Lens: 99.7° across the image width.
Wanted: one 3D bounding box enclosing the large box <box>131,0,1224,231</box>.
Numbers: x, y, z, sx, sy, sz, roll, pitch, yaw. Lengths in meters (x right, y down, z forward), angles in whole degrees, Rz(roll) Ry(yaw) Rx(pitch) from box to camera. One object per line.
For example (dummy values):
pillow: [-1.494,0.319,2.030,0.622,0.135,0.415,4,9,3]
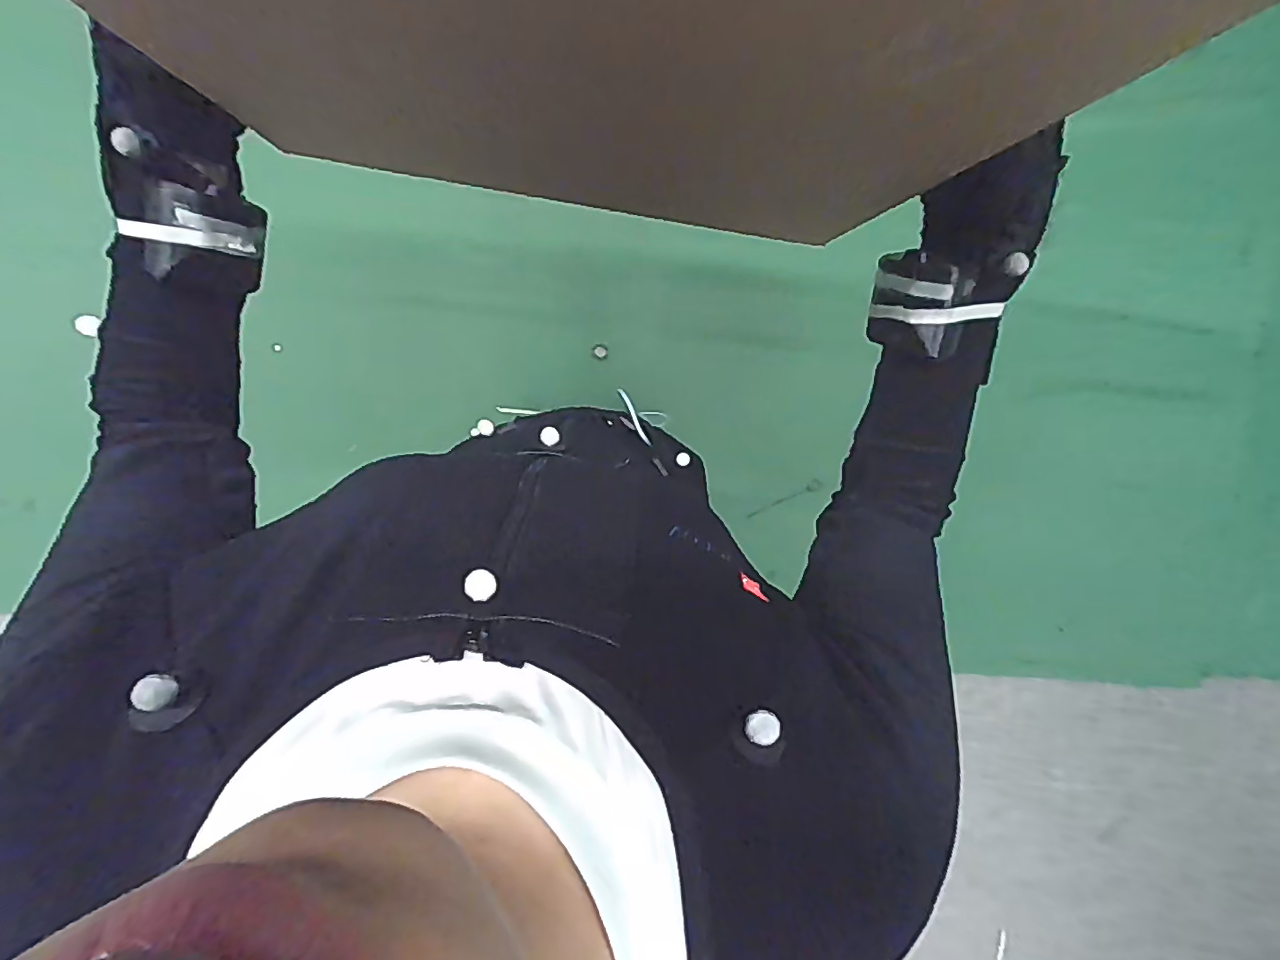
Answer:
large box: [-0.011,-0.332,0.228,0.408,0.320,0.320,7,101,-8]
